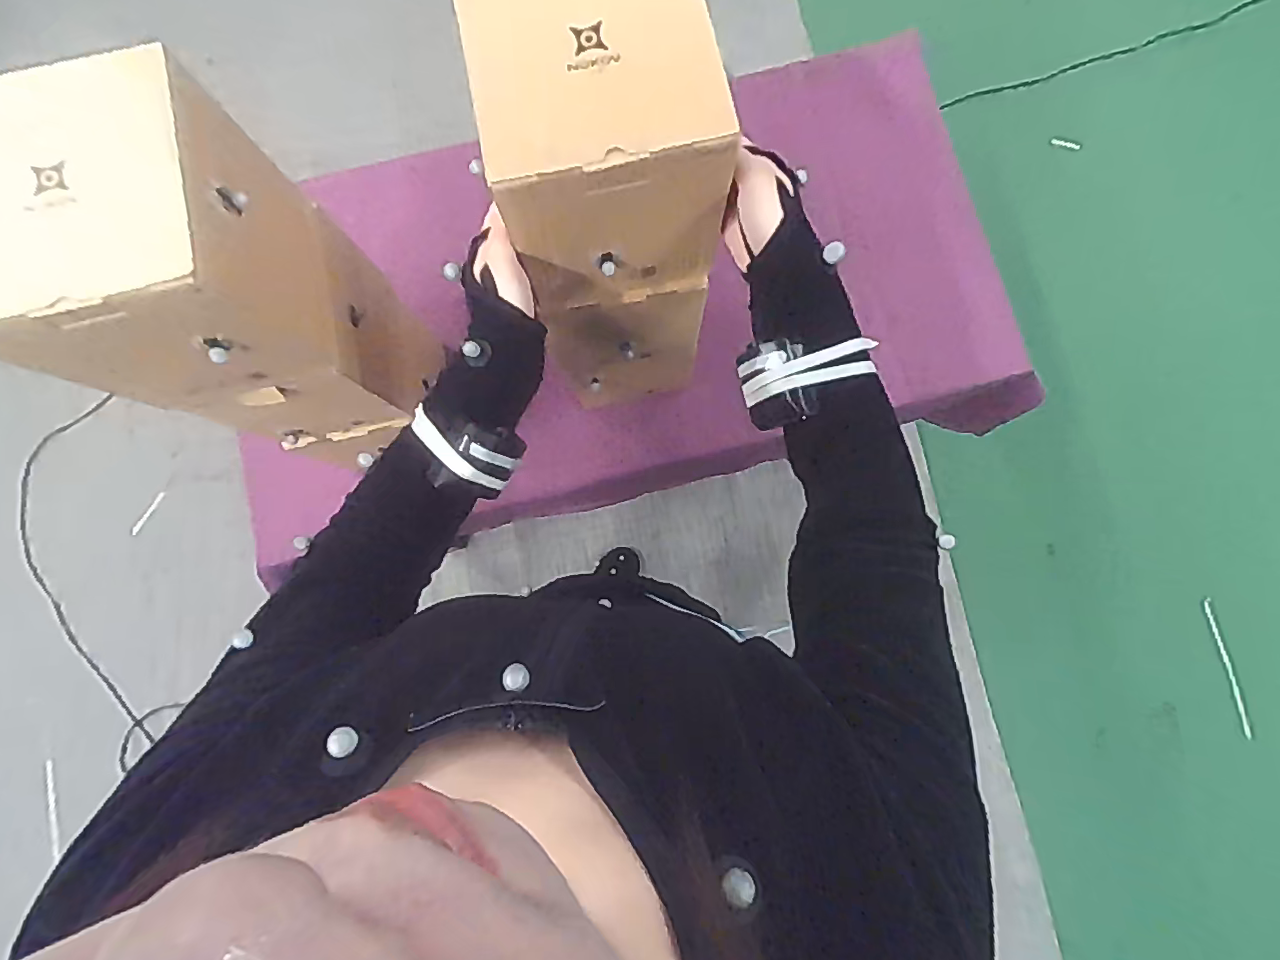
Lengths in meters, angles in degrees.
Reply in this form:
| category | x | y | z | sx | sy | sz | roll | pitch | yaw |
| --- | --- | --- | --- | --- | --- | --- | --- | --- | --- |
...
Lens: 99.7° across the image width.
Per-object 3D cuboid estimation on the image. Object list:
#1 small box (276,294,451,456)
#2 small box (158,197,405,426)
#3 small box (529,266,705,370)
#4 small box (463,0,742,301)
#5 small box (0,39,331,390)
| category | x | y | z | sx | sy | sz | roll | pitch | yaw |
| --- | --- | --- | --- | --- | --- | --- | --- | --- | --- |
| small box | -0.376 | -0.135 | 0.747 | 0.168 | 0.176 | 0.179 | -11 | 84 | -3 |
| small box | -0.374 | -0.163 | 0.584 | 0.168 | 0.176 | 0.179 | -10 | 82 | -2 |
| small box | -0.032 | -0.241 | 0.596 | 0.168 | 0.176 | 0.179 | -9 | 83 | -1 |
| small box | -0.031 | -0.273 | 0.436 | 0.168 | 0.176 | 0.179 | -12 | 84 | -2 |
| small box | -0.371 | -0.181 | 0.422 | 0.168 | 0.176 | 0.179 | -12 | 83 | -3 |
